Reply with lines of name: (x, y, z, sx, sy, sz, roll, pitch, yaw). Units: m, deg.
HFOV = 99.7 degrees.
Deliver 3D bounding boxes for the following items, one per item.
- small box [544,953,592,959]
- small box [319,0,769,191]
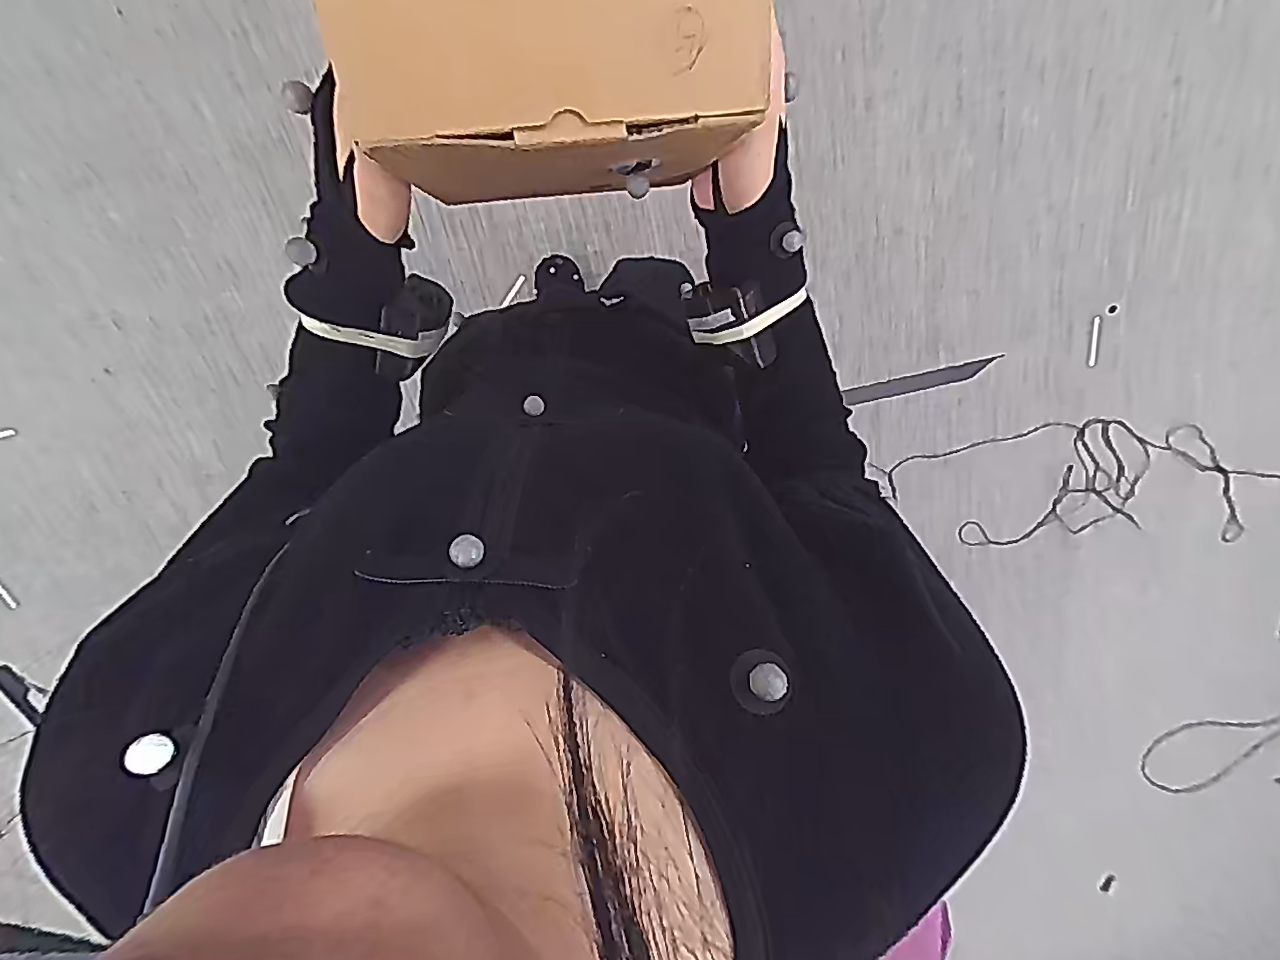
small box: (-0.167, 1.119, 1.102, 0.168, 0.176, 0.179, -8, 112, -4)
small box: (-0.047, -0.245, 0.255, 0.168, 0.176, 0.179, -8, 110, -6)
